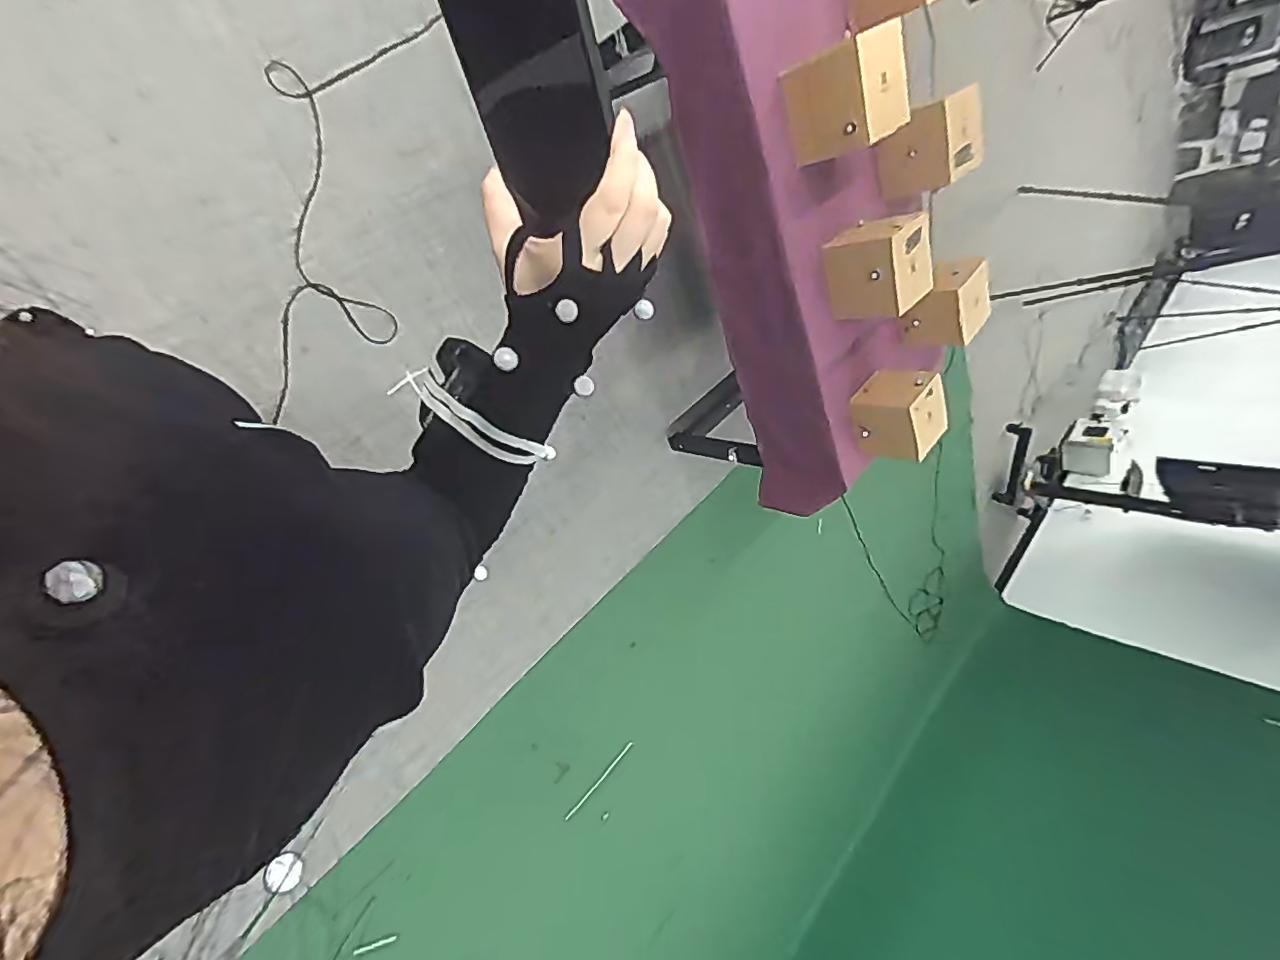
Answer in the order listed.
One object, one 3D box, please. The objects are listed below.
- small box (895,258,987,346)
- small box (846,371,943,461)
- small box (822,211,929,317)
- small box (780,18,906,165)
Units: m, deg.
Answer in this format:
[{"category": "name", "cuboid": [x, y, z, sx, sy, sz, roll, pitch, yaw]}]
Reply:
[{"category": "small box", "cuboid": [0.823, -0.486, 1.486, 0.179, 0.176, 0.168, -43, 124, -23]}, {"category": "small box", "cuboid": [0.676, -0.176, 1.438, 0.168, 0.176, 0.179, -43, 124, -25]}, {"category": "small box", "cuboid": [0.543, -0.493, 1.252, 0.168, 0.176, 0.179, -39, 123, -27]}, {"category": "small box", "cuboid": [0.399, -0.759, 1.070, 0.168, 0.176, 0.179, -40, 124, -26]}]
